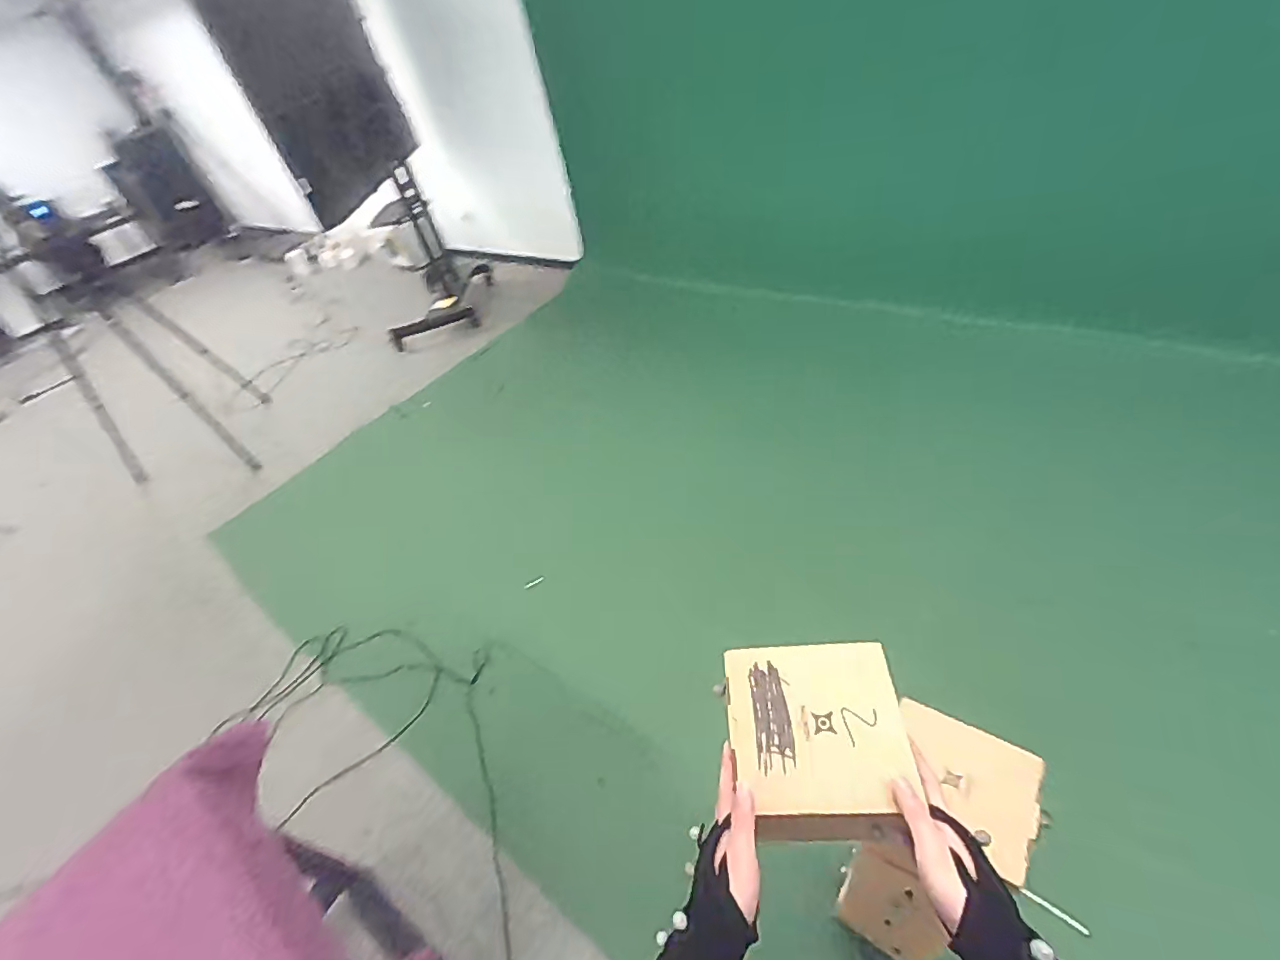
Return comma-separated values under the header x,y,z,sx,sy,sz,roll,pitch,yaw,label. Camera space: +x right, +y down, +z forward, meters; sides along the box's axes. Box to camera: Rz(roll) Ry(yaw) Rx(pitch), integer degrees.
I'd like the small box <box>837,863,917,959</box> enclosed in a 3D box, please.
x,y,z,sx,sy,sz,roll,pitch,yaw,label
0.548,0.925,1.181,0.179,0.176,0.168,21,53,33,small box

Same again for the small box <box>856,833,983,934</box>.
x,y,z,sx,sy,sz,roll,pitch,yaw,label
0.453,0.571,0.857,0.168,0.176,0.179,18,53,32,small box

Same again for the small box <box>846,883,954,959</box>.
x,y,z,sx,sy,sz,roll,pitch,yaw,label
0.524,0.810,1.069,0.179,0.176,0.168,18,51,32,small box

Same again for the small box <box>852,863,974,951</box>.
x,y,z,sx,sy,sz,roll,pitch,yaw,label
0.490,0.690,0.962,0.179,0.176,0.168,17,52,30,small box

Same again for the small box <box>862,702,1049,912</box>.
x,y,z,sx,sy,sz,roll,pitch,yaw,label
0.424,0.452,0.748,0.179,0.176,0.168,18,50,33,small box
